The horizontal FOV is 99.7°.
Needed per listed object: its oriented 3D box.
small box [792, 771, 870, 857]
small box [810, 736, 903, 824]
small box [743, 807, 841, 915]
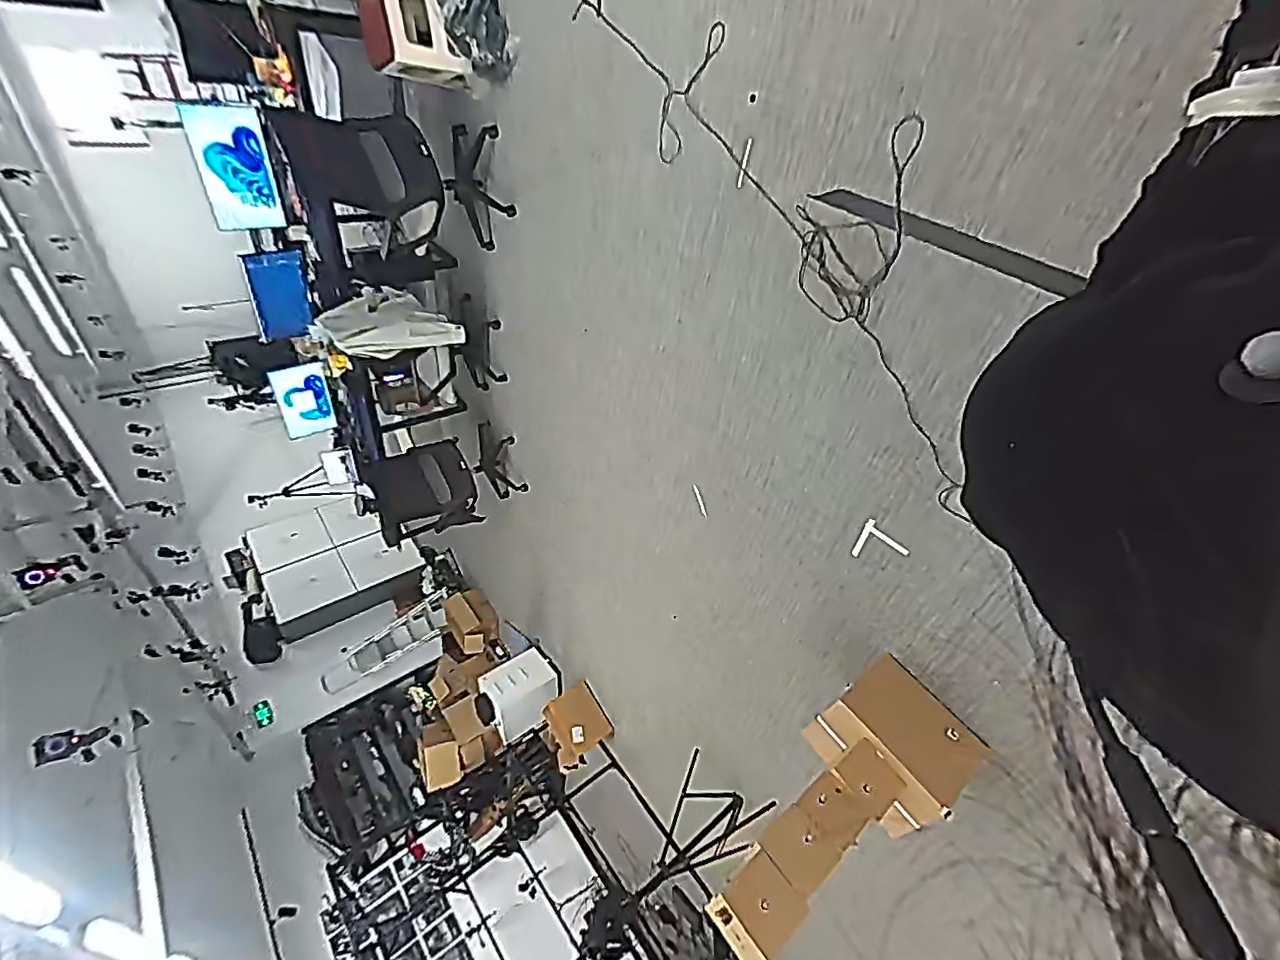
[{"bbox_3d":[0.554,1.010,1.605,0.168,0.176,0.179,37,138,38],"label":"small box"},{"bbox_3d":[0.678,0.942,1.687,0.179,0.176,0.168,49,142,26],"label":"small box"},{"bbox_3d":[0.424,1.058,1.518,0.179,0.176,0.168,43,140,34],"label":"small box"}]
